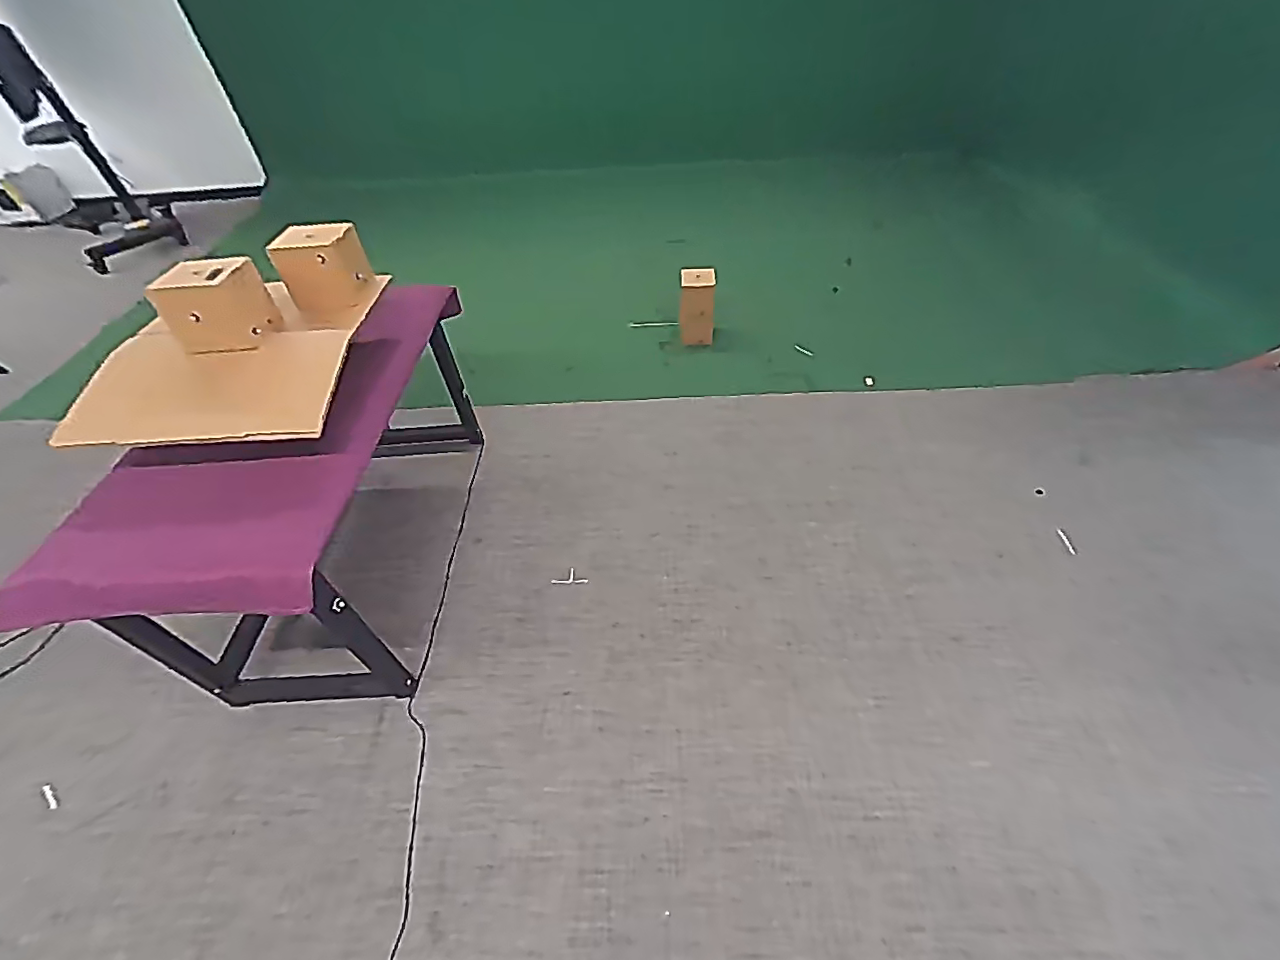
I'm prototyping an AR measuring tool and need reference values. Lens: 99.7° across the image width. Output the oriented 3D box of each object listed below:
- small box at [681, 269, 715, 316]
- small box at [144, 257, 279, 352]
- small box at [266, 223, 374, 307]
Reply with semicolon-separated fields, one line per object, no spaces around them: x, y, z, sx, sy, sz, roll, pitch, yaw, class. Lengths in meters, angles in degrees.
0.288;-0.943;2.720;0.168;0.176;0.179;0;47;4;small box
-1.053;-0.437;1.352;0.179;0.176;0.168;-4;44;1;small box
-0.878;-0.595;1.504;0.179;0.176;0.168;-3;44;0;small box
